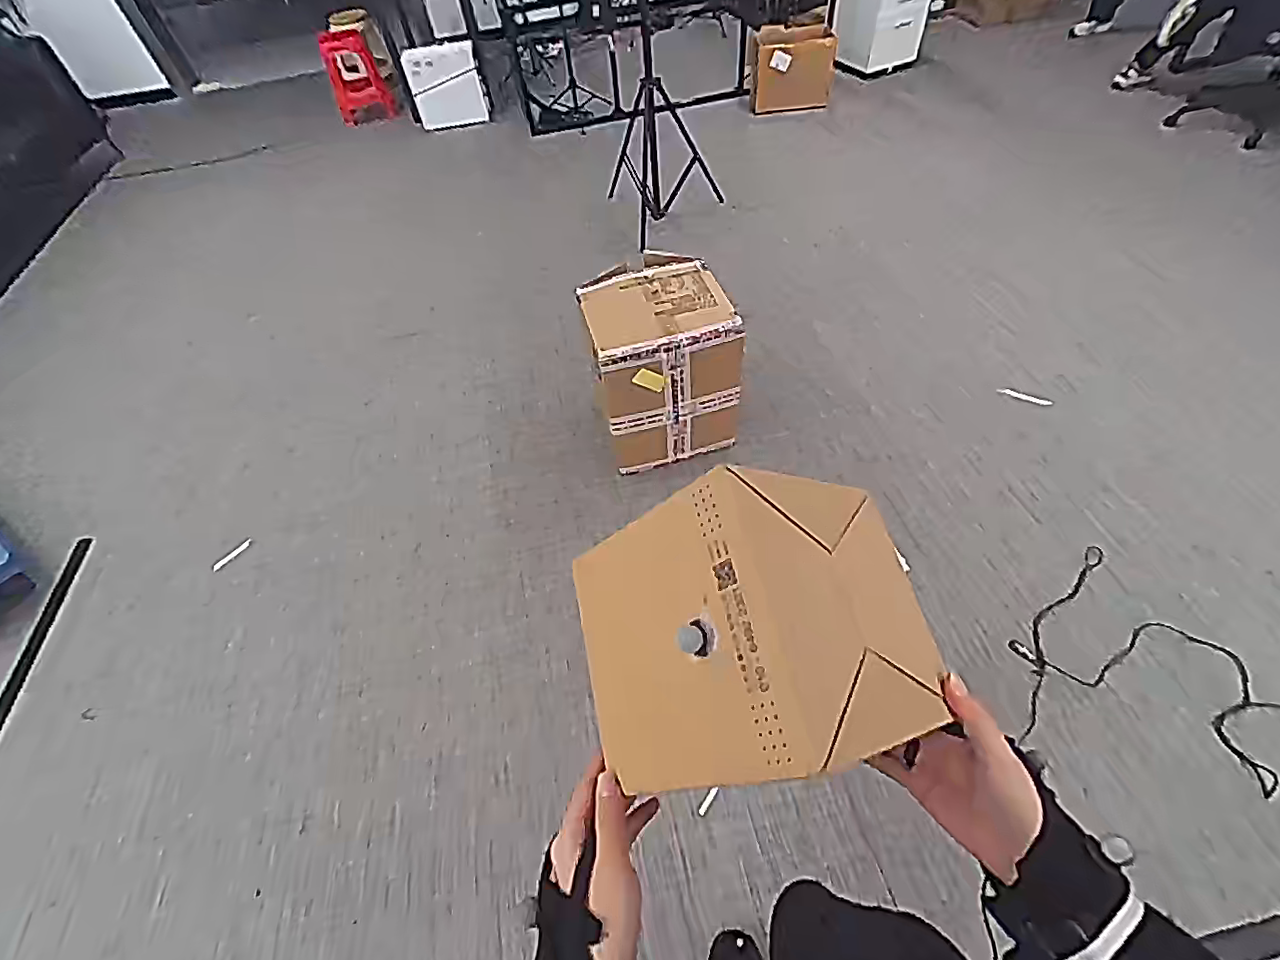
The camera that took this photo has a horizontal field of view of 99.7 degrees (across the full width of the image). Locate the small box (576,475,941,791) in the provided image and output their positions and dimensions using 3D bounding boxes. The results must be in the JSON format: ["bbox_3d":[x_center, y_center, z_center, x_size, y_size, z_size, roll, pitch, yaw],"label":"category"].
[{"bbox_3d":[0.081,0.111,0.393,0.179,0.176,0.168,9,58,-39],"label":"small box"}]
